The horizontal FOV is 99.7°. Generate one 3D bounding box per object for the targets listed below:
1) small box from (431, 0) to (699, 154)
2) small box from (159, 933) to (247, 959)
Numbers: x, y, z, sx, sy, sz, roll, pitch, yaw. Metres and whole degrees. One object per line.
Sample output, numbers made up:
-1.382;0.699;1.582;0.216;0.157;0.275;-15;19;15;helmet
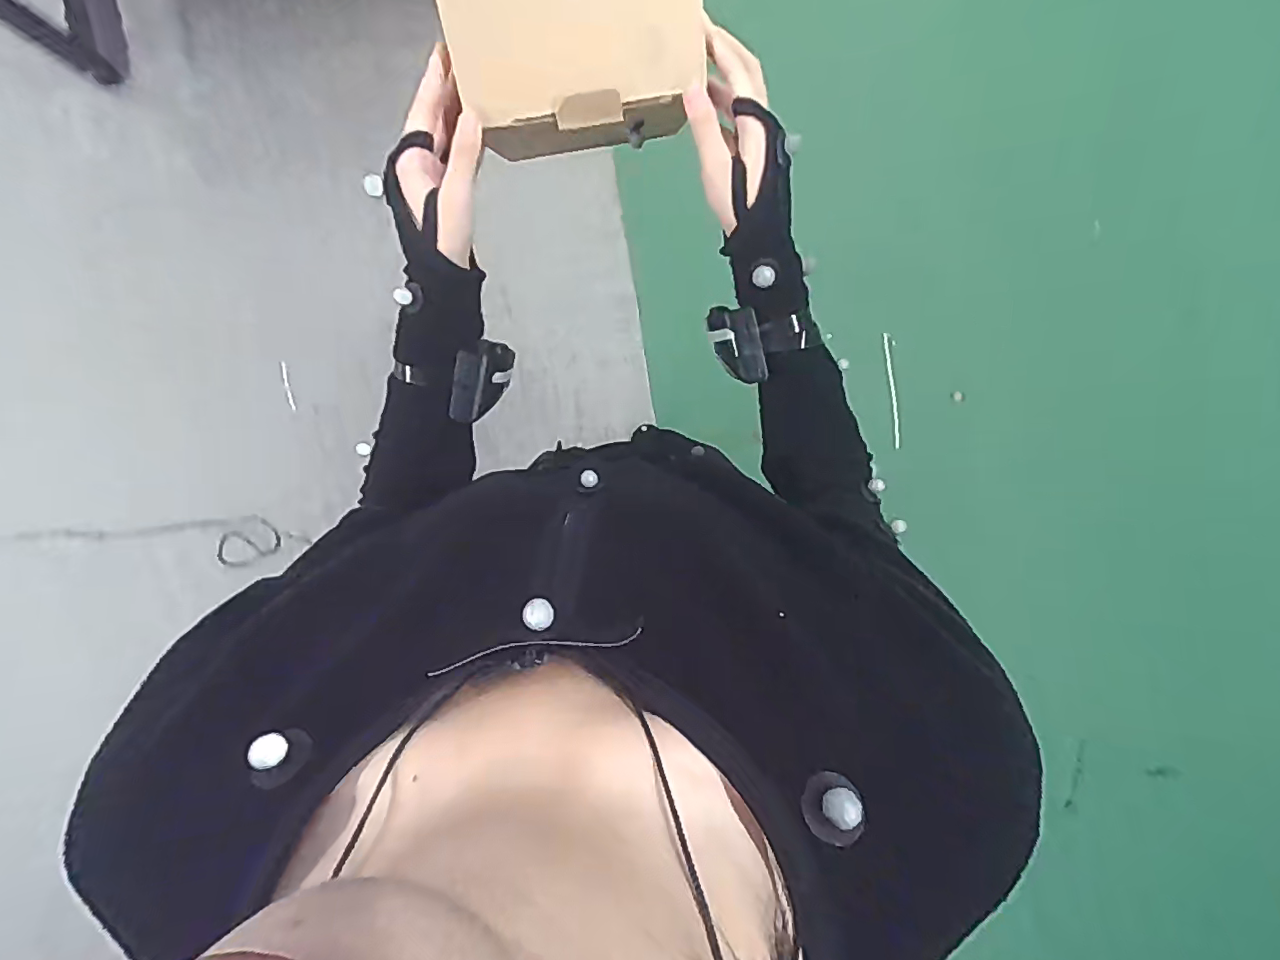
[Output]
-0.055;-0.355;0.399;0.168;0.176;0.179;-10;115;0;small box
-1.024;1.182;1.214;0.168;0.176;0.179;10;96;-1;small box
